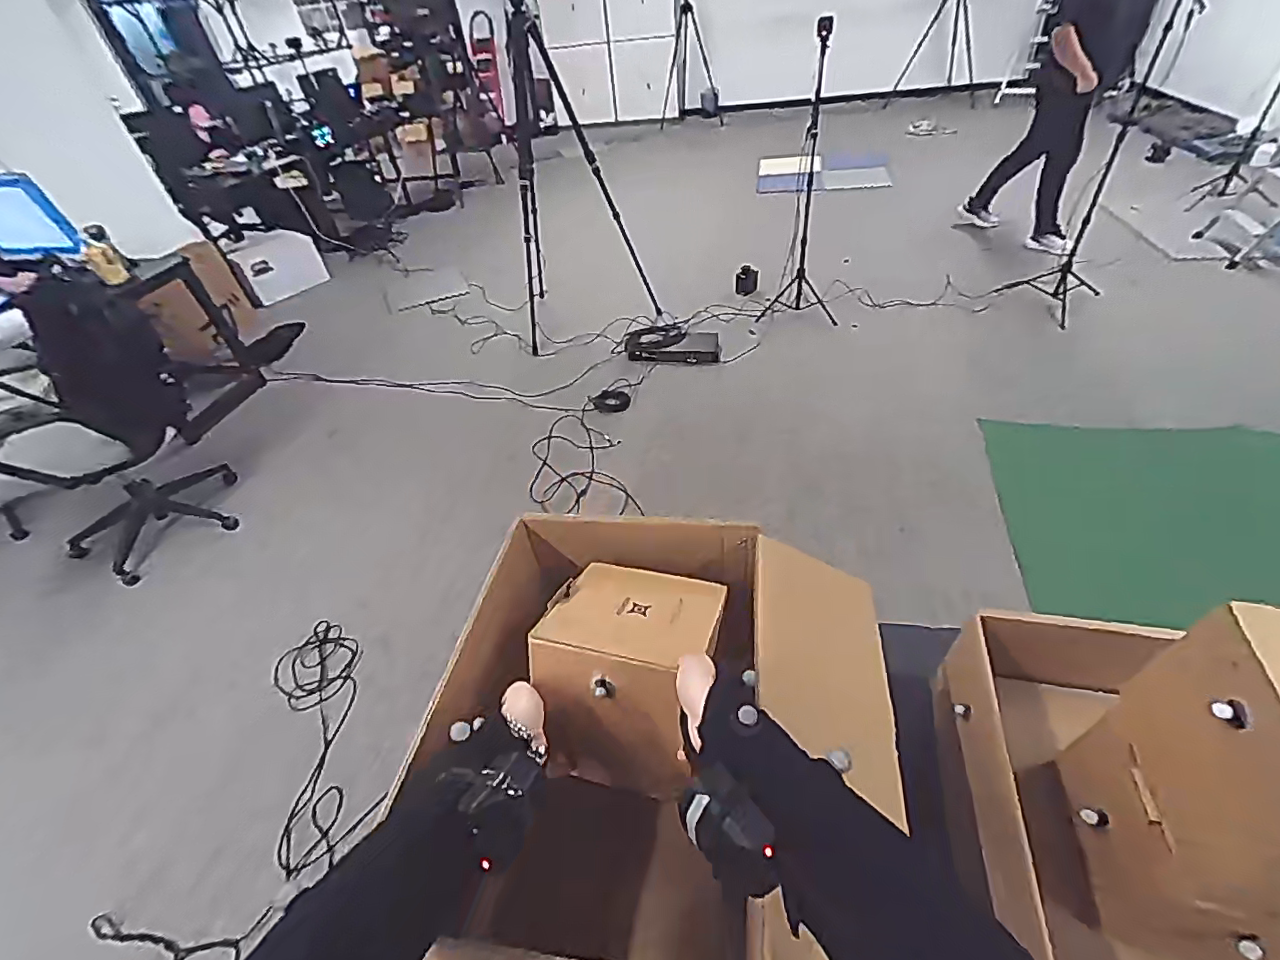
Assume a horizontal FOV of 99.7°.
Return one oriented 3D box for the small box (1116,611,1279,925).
[{"bbox_3d":[0.527,0.232,0.420,0.168,0.176,0.179,6,47,14],"label":"small box"}]
